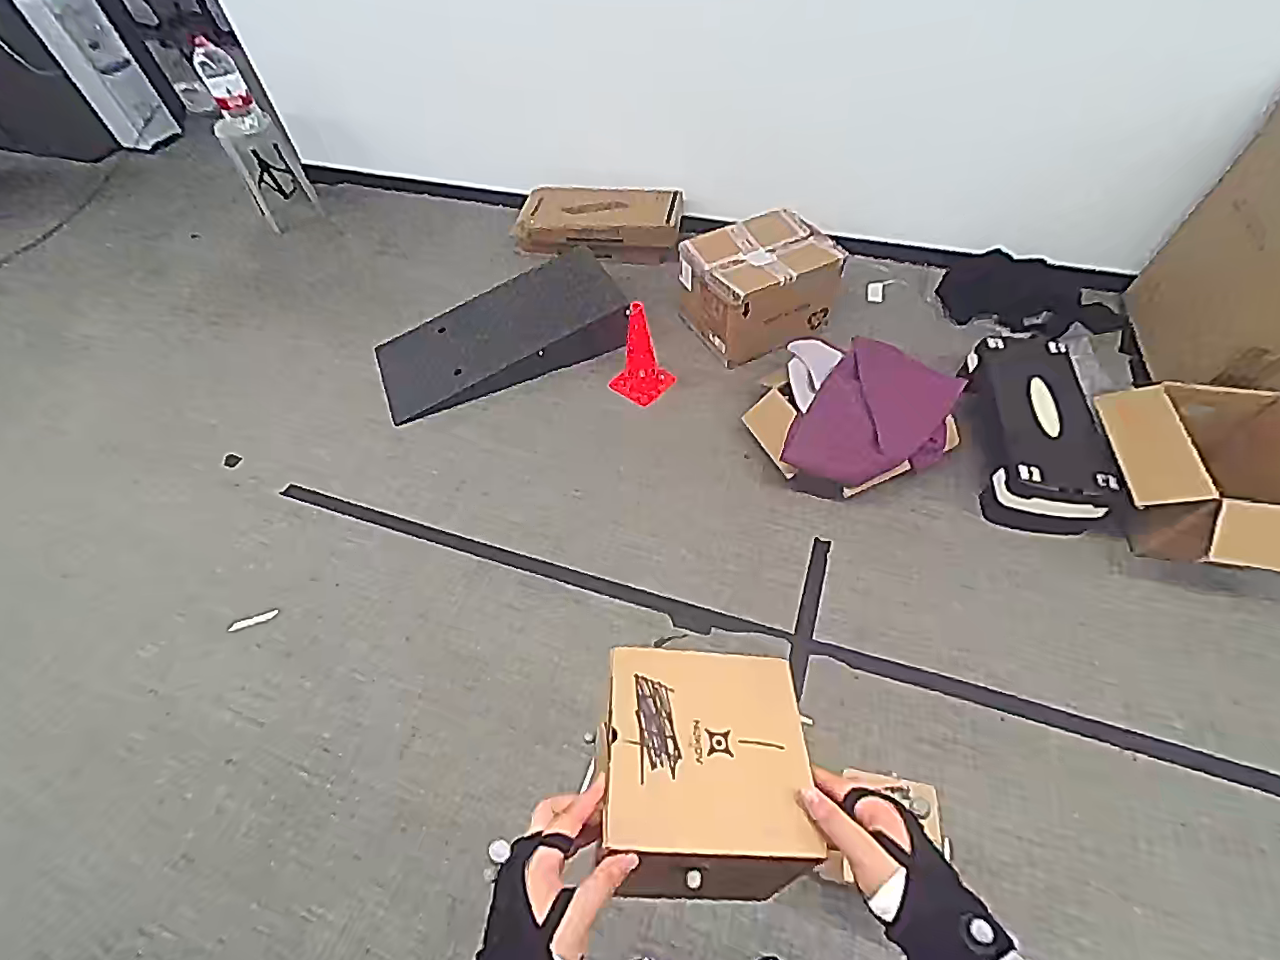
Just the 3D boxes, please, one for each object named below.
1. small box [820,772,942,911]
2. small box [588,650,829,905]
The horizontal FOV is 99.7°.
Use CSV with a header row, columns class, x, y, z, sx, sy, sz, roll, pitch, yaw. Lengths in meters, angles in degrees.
class,x,y,z,sx,sy,sz,roll,pitch,yaw
small box,0.436,0.667,1.004,0.168,0.176,0.179,9,55,9
small box,0.047,0.282,0.509,0.179,0.176,0.168,7,43,-6
